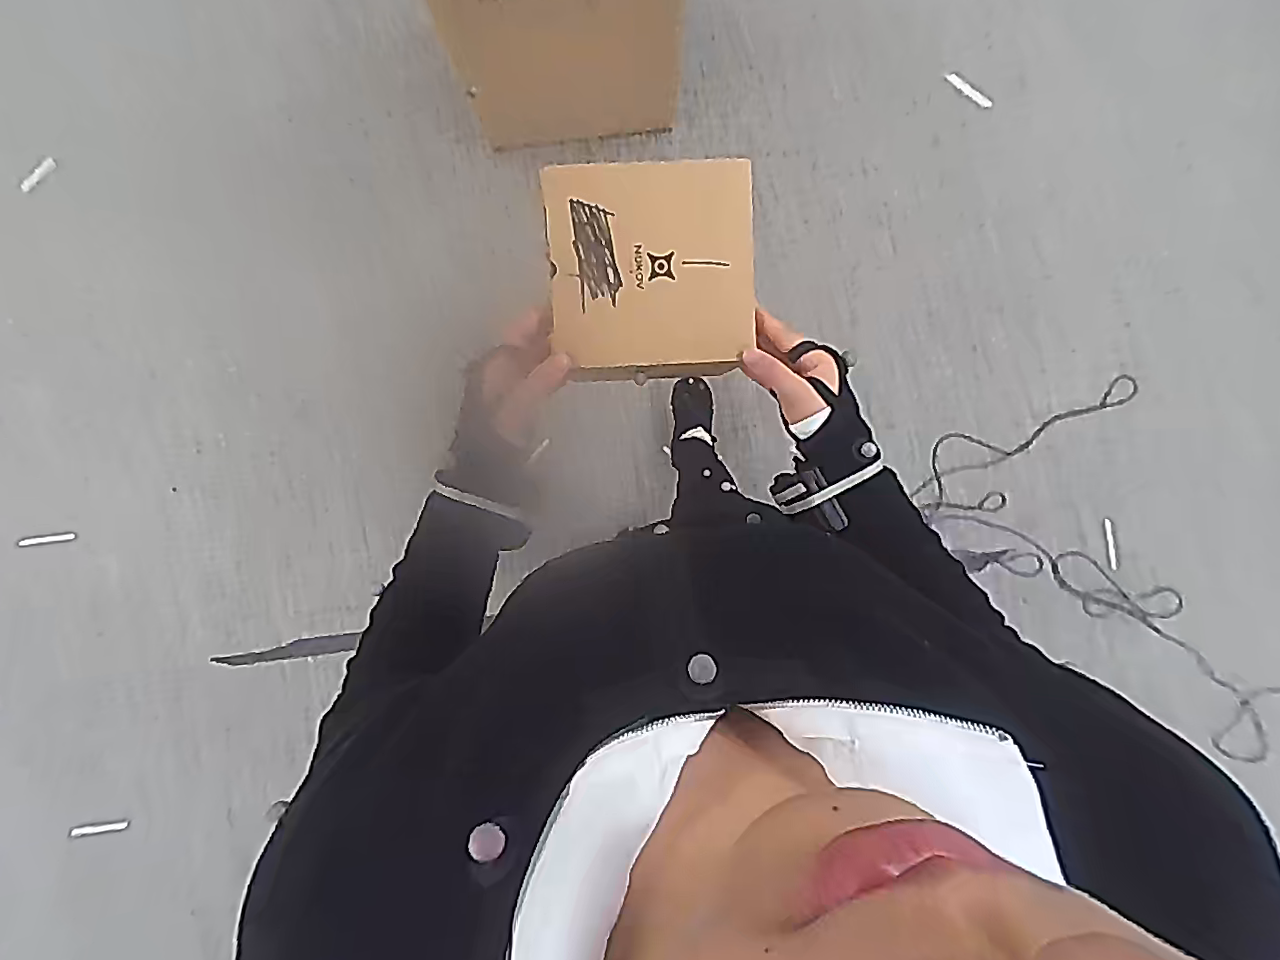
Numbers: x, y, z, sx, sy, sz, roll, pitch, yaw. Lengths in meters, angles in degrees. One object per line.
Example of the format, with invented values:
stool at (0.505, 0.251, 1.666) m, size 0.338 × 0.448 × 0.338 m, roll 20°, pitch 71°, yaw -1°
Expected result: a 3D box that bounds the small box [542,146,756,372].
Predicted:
small box at (0.007, -0.199, 0.533) m, size 0.179 × 0.176 × 0.168 m, roll -4°, pitch 96°, yaw -2°
